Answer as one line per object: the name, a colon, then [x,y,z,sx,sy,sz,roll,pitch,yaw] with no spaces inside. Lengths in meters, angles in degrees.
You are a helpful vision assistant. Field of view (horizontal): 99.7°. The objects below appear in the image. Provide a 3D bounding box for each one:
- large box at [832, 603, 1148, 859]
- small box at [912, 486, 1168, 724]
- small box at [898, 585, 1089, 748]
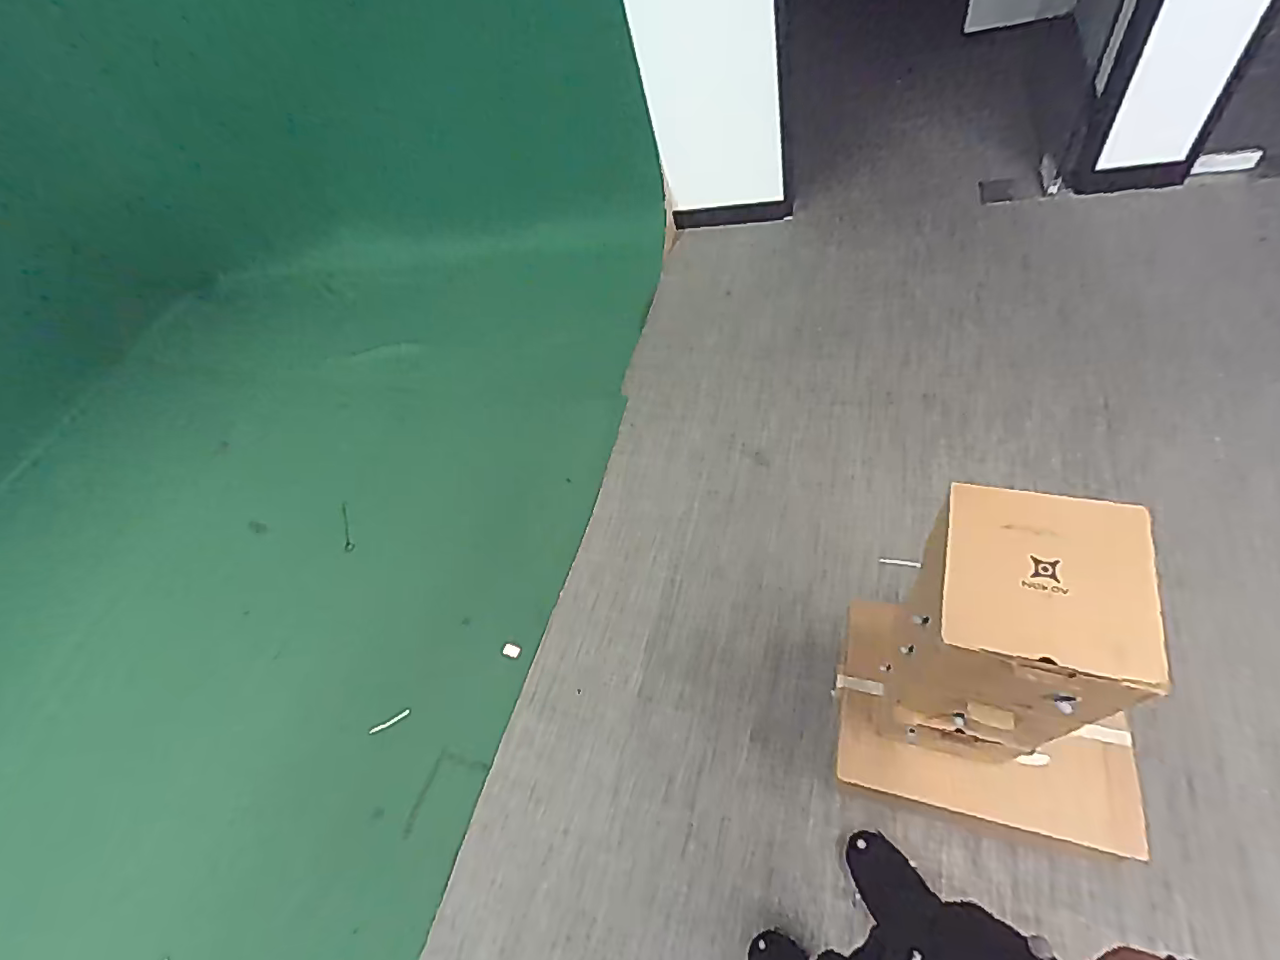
large box: [0.578,0.452,0.992,0.408,0.320,0.320,6,61,20]
small box: [0.388,0.132,0.558,0.168,0.176,0.179,9,60,21]
small box: [0.437,0.216,0.689,0.168,0.176,0.179,10,62,23]
